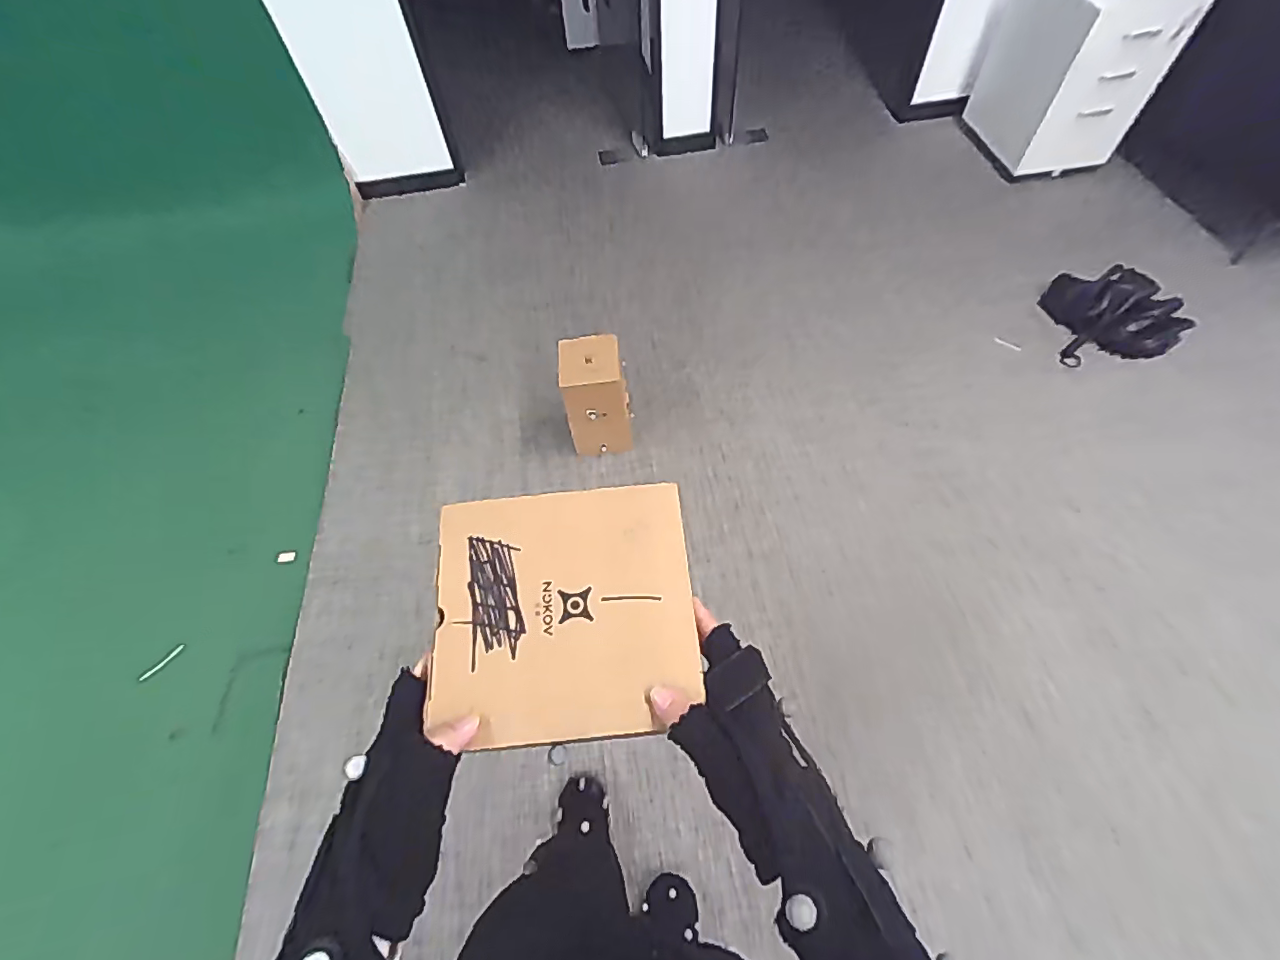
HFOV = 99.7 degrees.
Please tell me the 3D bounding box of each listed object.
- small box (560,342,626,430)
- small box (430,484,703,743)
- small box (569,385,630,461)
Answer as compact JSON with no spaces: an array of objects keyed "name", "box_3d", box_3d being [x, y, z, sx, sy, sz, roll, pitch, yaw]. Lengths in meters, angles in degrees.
[{"name":"small box","box_3d":[-0.133,-0.266,1.549,0.168,0.176,0.179,-7,58,2]},{"name":"small box","box_3d":[-0.049,0.118,0.444,0.179,0.176,0.168,-5,64,-1]},{"name":"small box","box_3d":[-0.121,-0.175,1.683,0.179,0.176,0.168,-5,57,0]}]
